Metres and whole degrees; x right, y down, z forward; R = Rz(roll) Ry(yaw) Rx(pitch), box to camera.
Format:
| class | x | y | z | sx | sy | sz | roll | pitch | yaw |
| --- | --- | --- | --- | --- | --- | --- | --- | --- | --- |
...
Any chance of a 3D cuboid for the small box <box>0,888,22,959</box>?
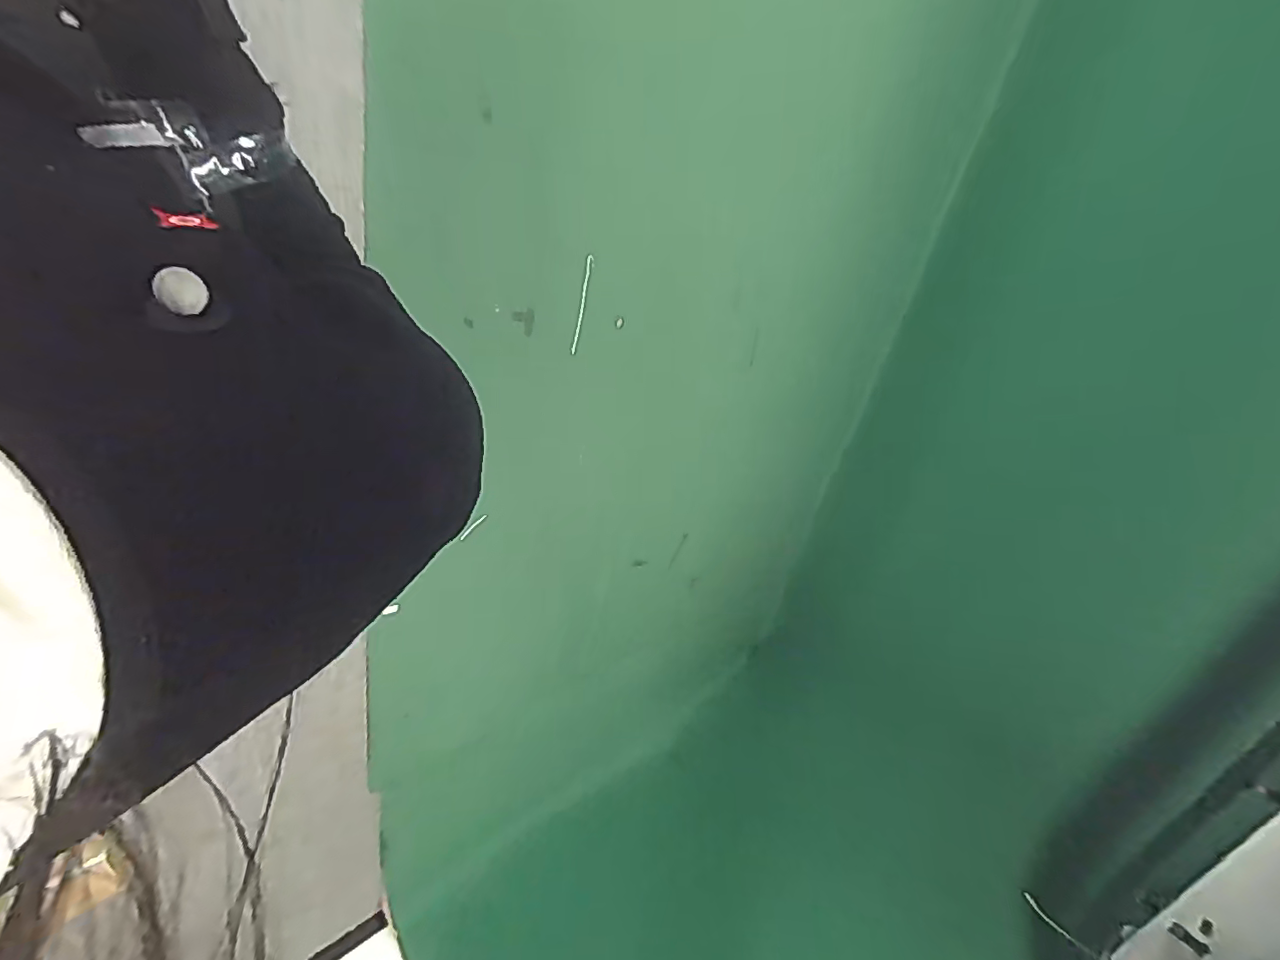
| class | x | y | z | sx | sy | sz | roll | pitch | yaw |
| --- | --- | --- | --- | --- | --- | --- | --- | --- | --- |
| small box | -1.276 | 0.889 | 0.983 | 0.179 | 0.176 | 0.168 | -16 | 127 | -40 |
